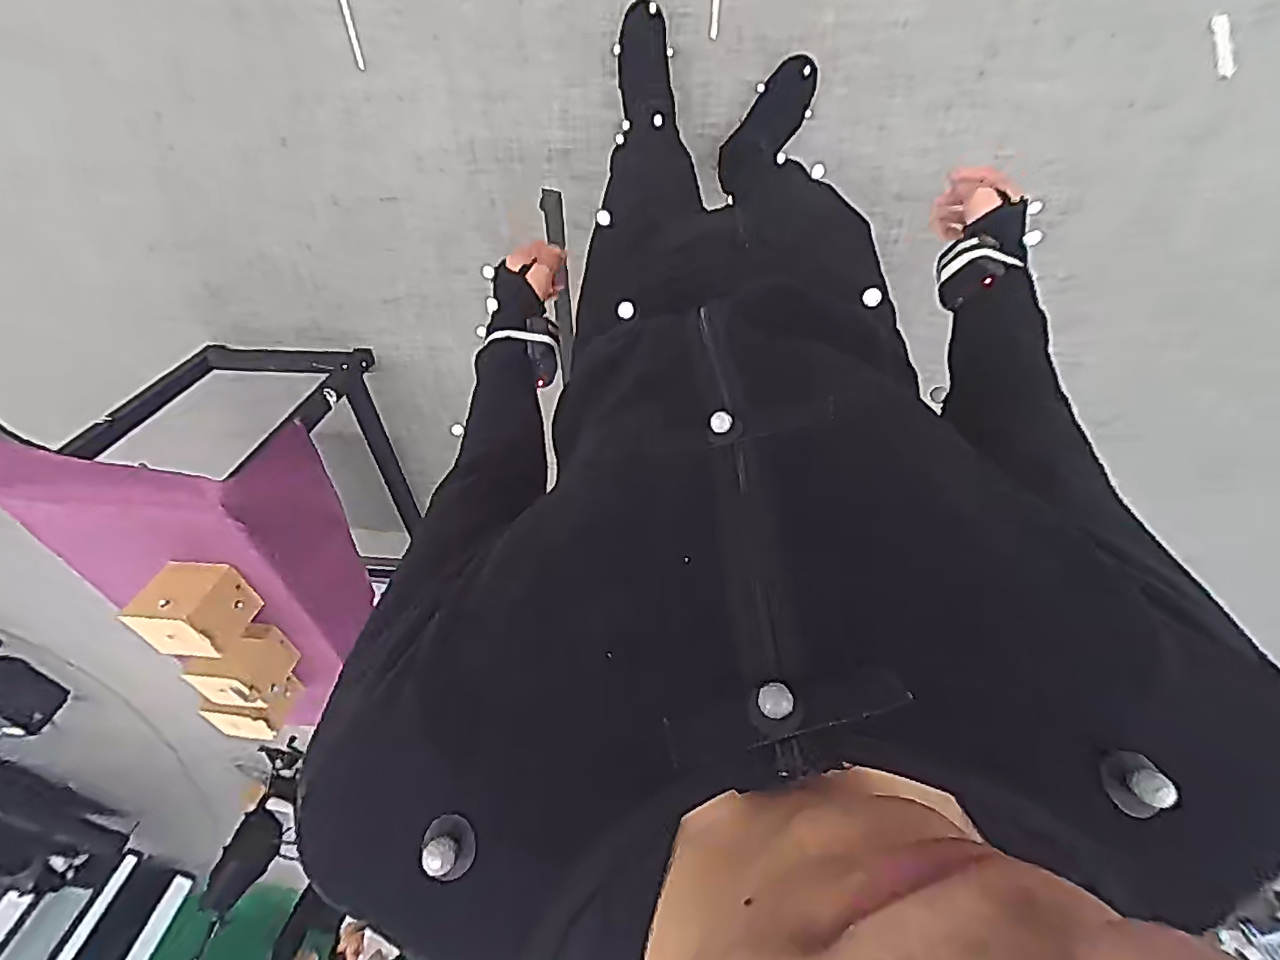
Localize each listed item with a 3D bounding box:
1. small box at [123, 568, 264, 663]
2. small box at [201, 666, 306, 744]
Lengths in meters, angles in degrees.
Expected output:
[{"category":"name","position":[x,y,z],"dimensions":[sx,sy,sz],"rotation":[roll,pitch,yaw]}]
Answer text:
[{"category":"small box","position":[-1.109,0.336,1.361],"dimensions":[0.179,0.176,0.168],"rotation":[1,132,6]},{"category":"small box","position":[-1.204,0.704,1.701],"dimensions":[0.179,0.176,0.168],"rotation":[3,132,5]}]
